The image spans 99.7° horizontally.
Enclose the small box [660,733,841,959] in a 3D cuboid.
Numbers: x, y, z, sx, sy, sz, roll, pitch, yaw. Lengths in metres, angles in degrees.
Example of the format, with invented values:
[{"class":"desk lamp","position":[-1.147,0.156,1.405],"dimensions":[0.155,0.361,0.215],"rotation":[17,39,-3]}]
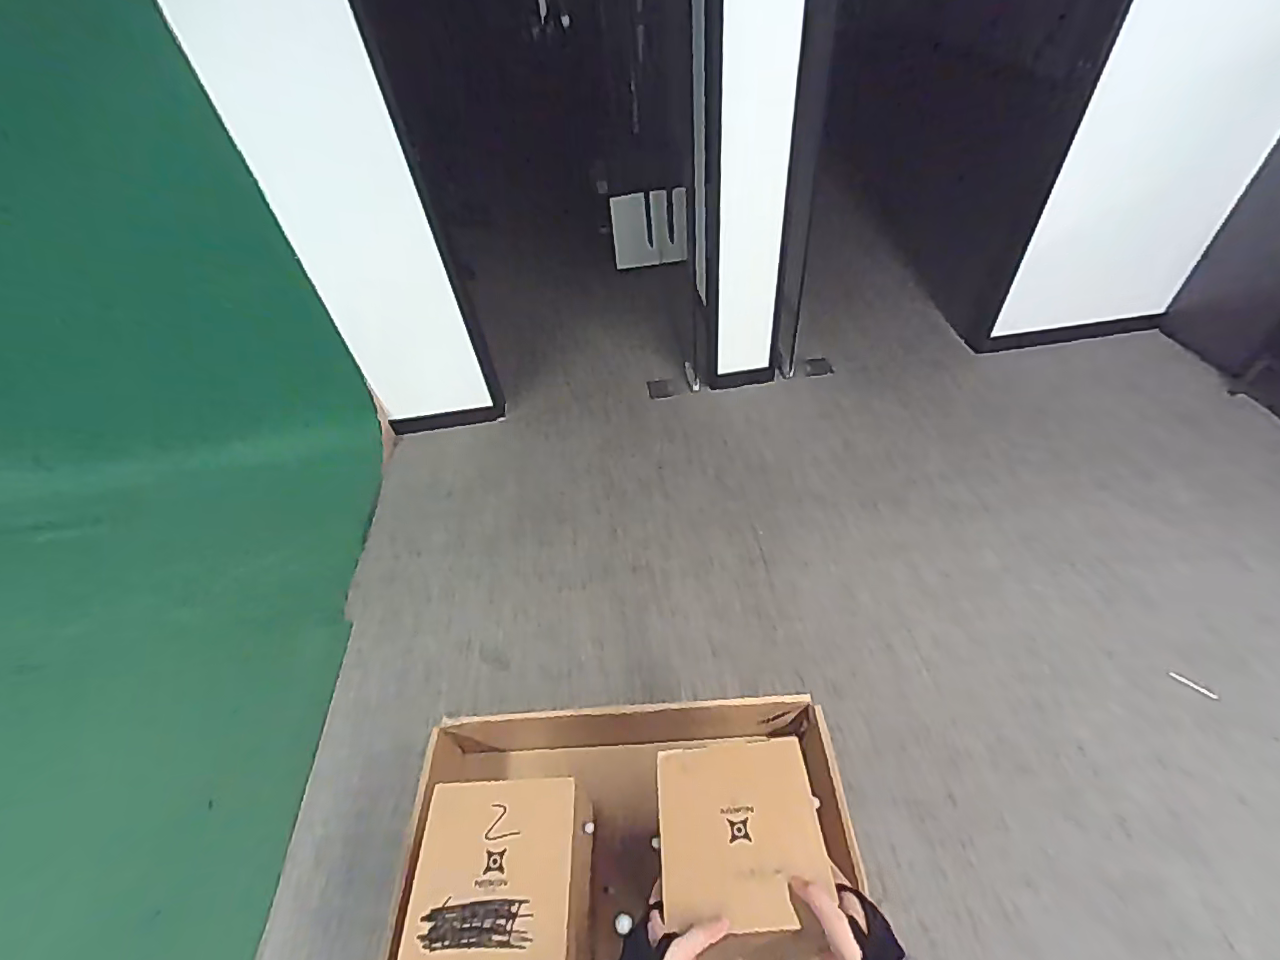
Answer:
[{"class":"small box","position":[0.116,0.417,0.611],"dimensions":[0.168,0.176,0.179],"rotation":[-9,38,6]}]
